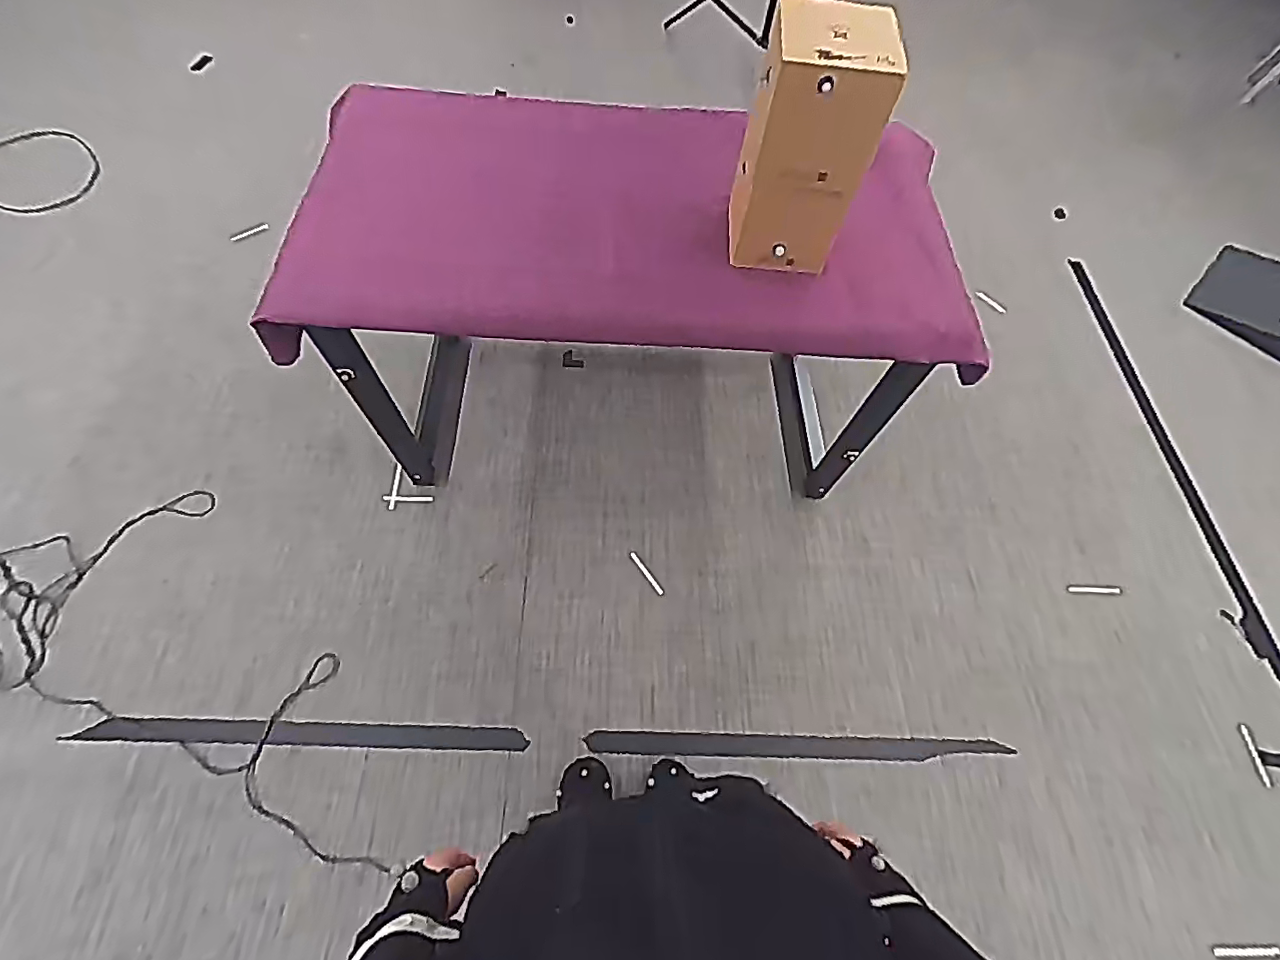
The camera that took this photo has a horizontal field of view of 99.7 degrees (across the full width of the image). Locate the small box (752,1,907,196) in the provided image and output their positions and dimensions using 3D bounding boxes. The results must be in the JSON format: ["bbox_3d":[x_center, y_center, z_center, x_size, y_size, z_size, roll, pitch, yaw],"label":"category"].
[{"bbox_3d":[0.264,-0.557,0.799,0.168,0.176,0.179,6,62,0],"label":"small box"}]

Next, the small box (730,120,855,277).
[{"bbox_3d":[0.255,-0.488,0.948,0.168,0.176,0.179,4,64,-1],"label":"small box"}]
